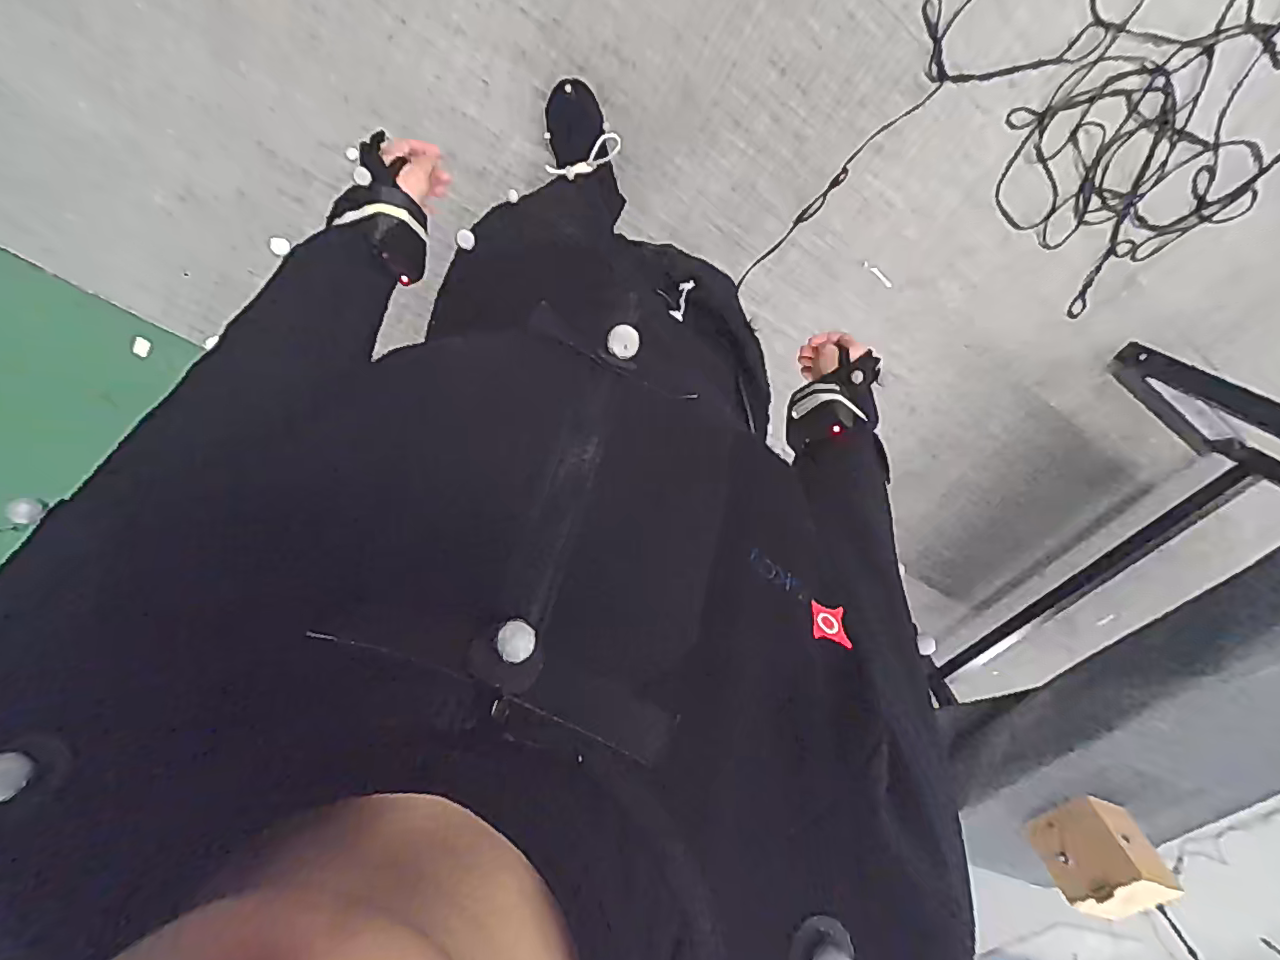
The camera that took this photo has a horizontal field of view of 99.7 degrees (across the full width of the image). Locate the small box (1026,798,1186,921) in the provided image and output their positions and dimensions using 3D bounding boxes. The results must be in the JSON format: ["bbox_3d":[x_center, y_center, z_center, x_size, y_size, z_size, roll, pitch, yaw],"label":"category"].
[{"bbox_3d":[1.011,0.831,1.190,0.179,0.176,0.168,25,120,-21],"label":"small box"}]
